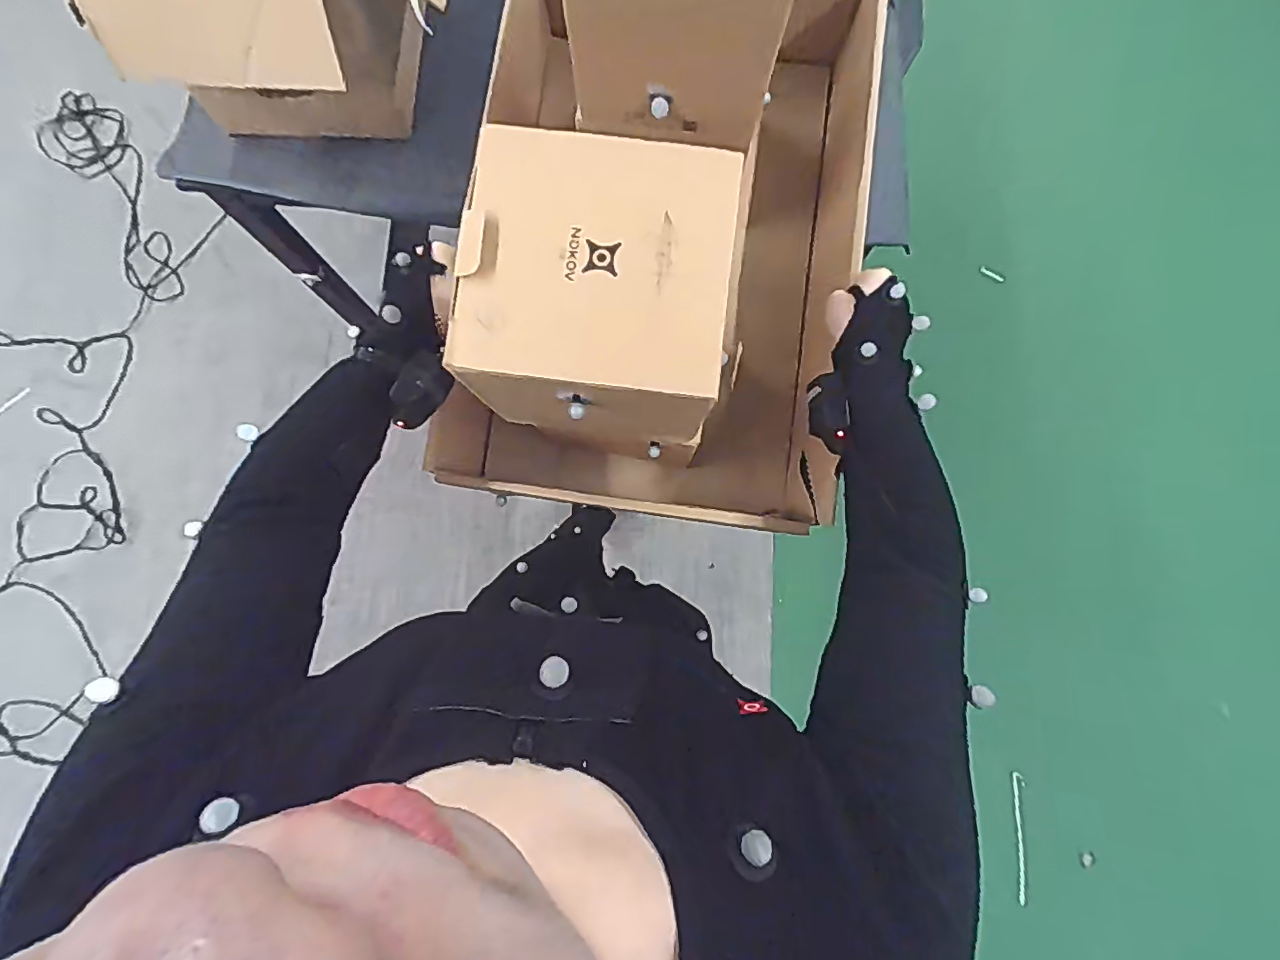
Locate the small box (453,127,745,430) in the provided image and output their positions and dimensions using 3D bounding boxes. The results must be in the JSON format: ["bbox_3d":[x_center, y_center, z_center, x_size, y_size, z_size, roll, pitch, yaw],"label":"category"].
[{"bbox_3d":[-0.026,-0.139,0.433,0.179,0.176,0.168,7,86,0],"label":"small box"}]

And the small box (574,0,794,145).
[{"bbox_3d":[0.038,-0.424,0.449,0.168,0.176,0.179,8,88,1],"label":"small box"}]
